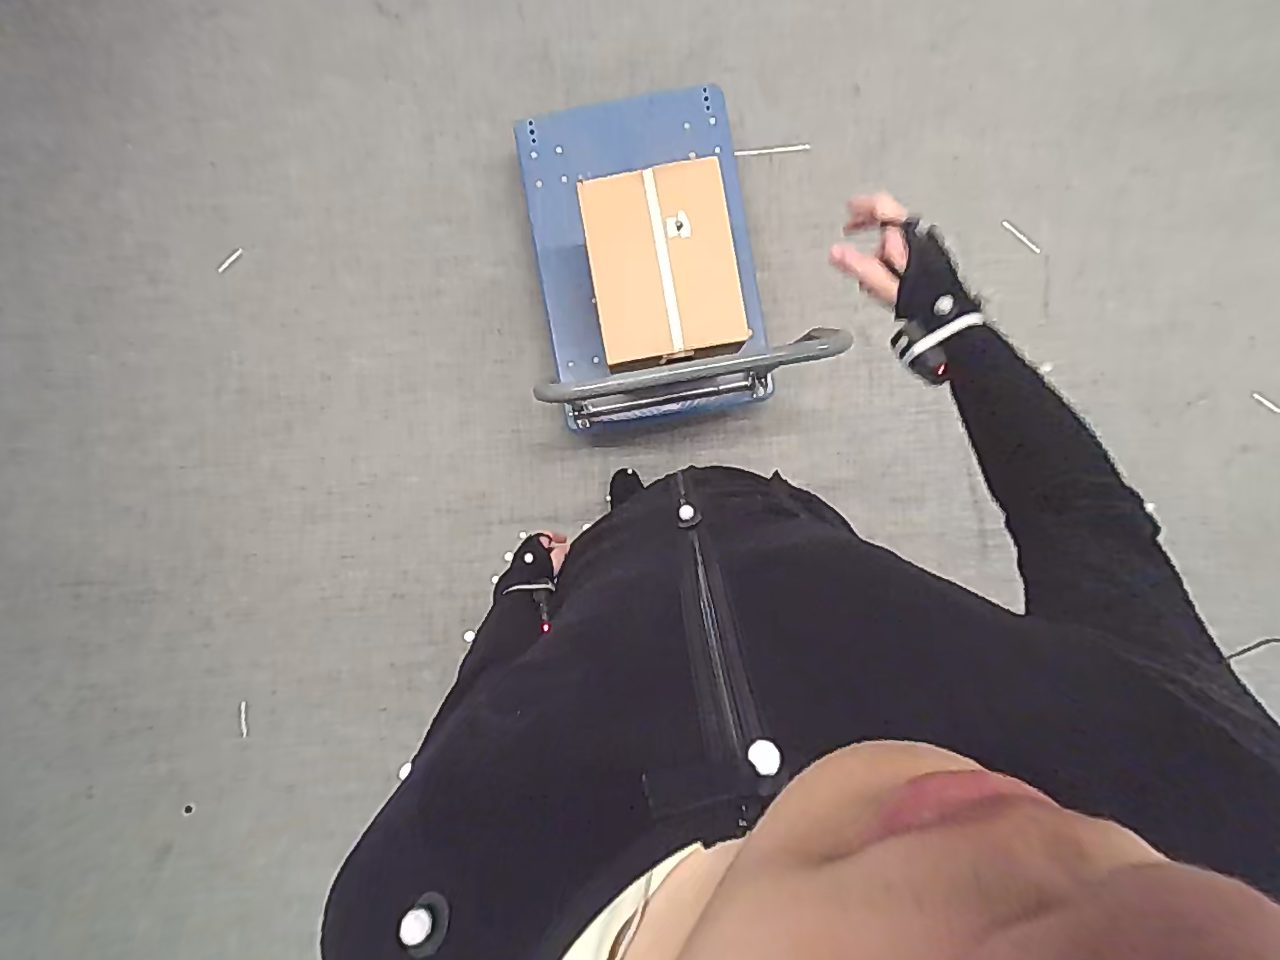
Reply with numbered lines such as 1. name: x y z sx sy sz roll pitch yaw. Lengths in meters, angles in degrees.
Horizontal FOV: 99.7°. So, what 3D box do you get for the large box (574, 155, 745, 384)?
1. large box: 0.047 -0.482 1.319 0.320 0.320 0.408 -10 90 1
